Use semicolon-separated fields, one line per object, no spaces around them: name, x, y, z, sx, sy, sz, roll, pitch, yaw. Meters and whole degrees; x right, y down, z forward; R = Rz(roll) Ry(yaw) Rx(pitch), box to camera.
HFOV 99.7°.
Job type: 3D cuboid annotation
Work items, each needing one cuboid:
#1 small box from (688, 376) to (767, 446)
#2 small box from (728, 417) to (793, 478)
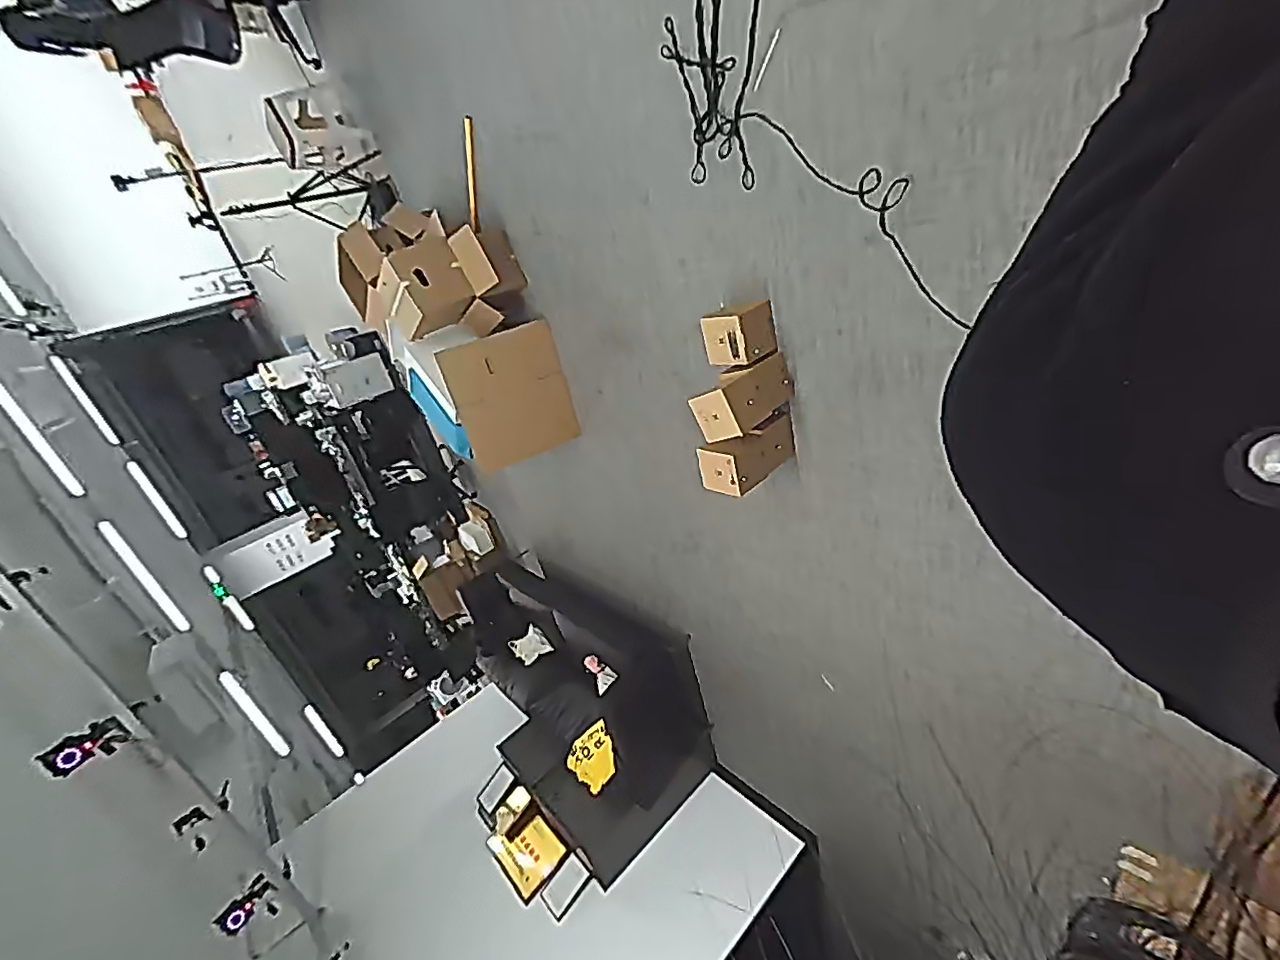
small box;0.302;-0.233;1.810;0.179;0.176;0.168;-10;109;57
small box;0.448;-0.131;2.007;0.168;0.176;0.179;16;130;49
